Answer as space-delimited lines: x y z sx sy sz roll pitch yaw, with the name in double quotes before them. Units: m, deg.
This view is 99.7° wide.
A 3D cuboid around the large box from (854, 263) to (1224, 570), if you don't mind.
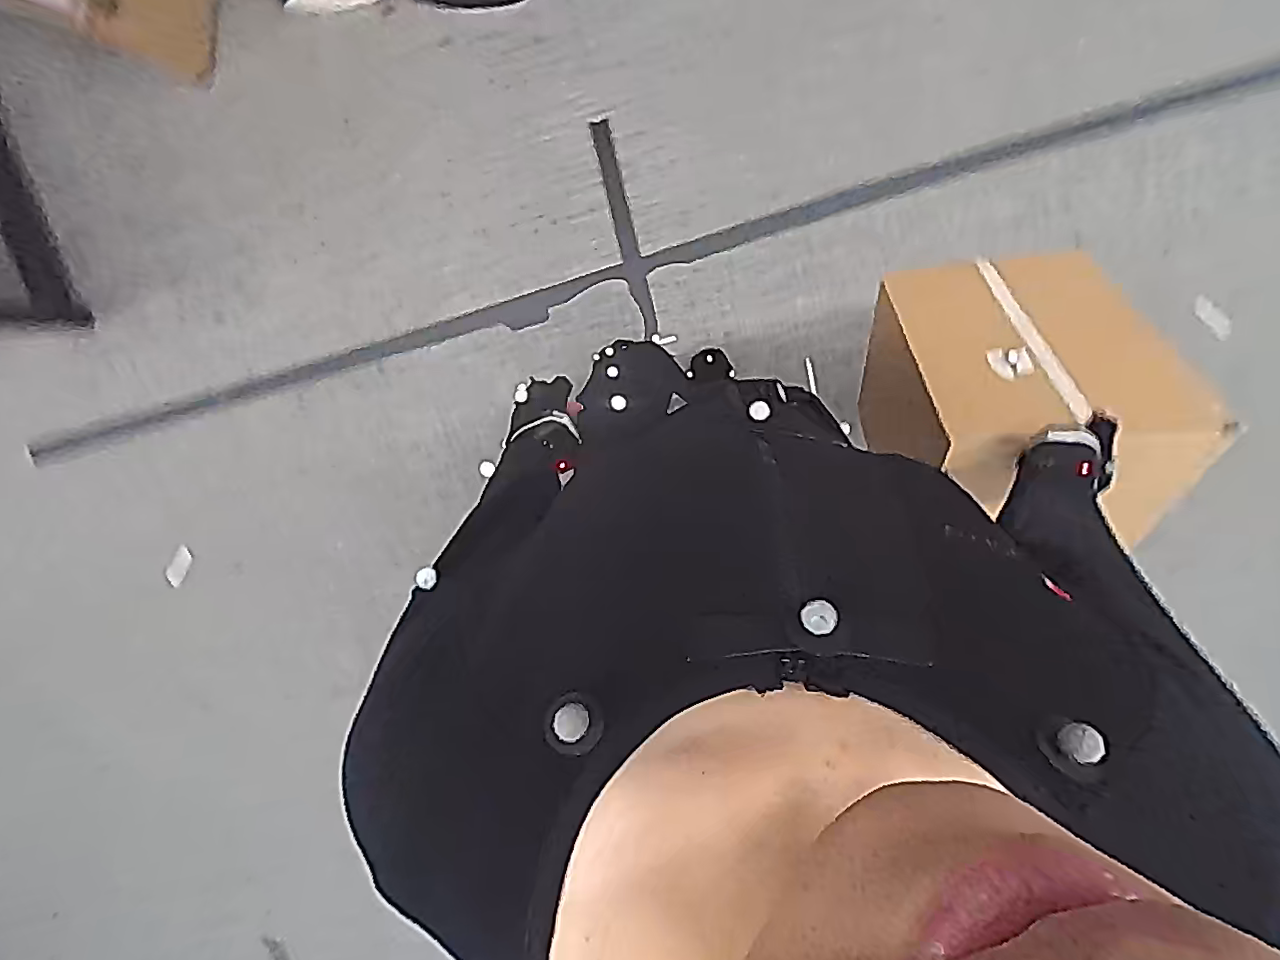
"large box" 0.575 -0.102 0.899 0.320 0.408 0.320 -4 141 10
